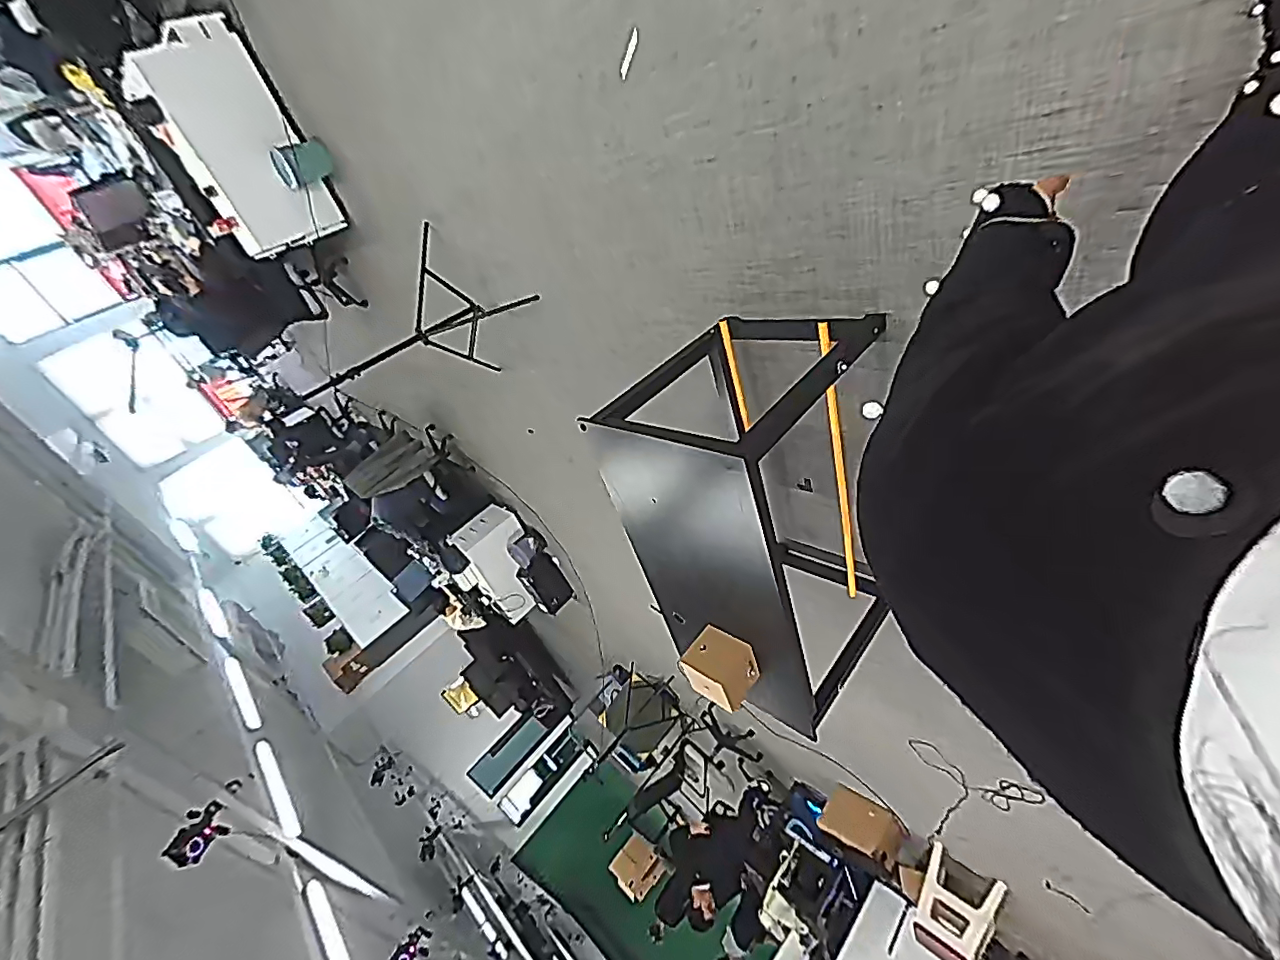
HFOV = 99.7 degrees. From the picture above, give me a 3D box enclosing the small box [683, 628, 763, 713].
[{"bbox_3d":[0.276,0.615,1.774,0.179,0.176,0.168,15,139,45],"label":"small box"}]
